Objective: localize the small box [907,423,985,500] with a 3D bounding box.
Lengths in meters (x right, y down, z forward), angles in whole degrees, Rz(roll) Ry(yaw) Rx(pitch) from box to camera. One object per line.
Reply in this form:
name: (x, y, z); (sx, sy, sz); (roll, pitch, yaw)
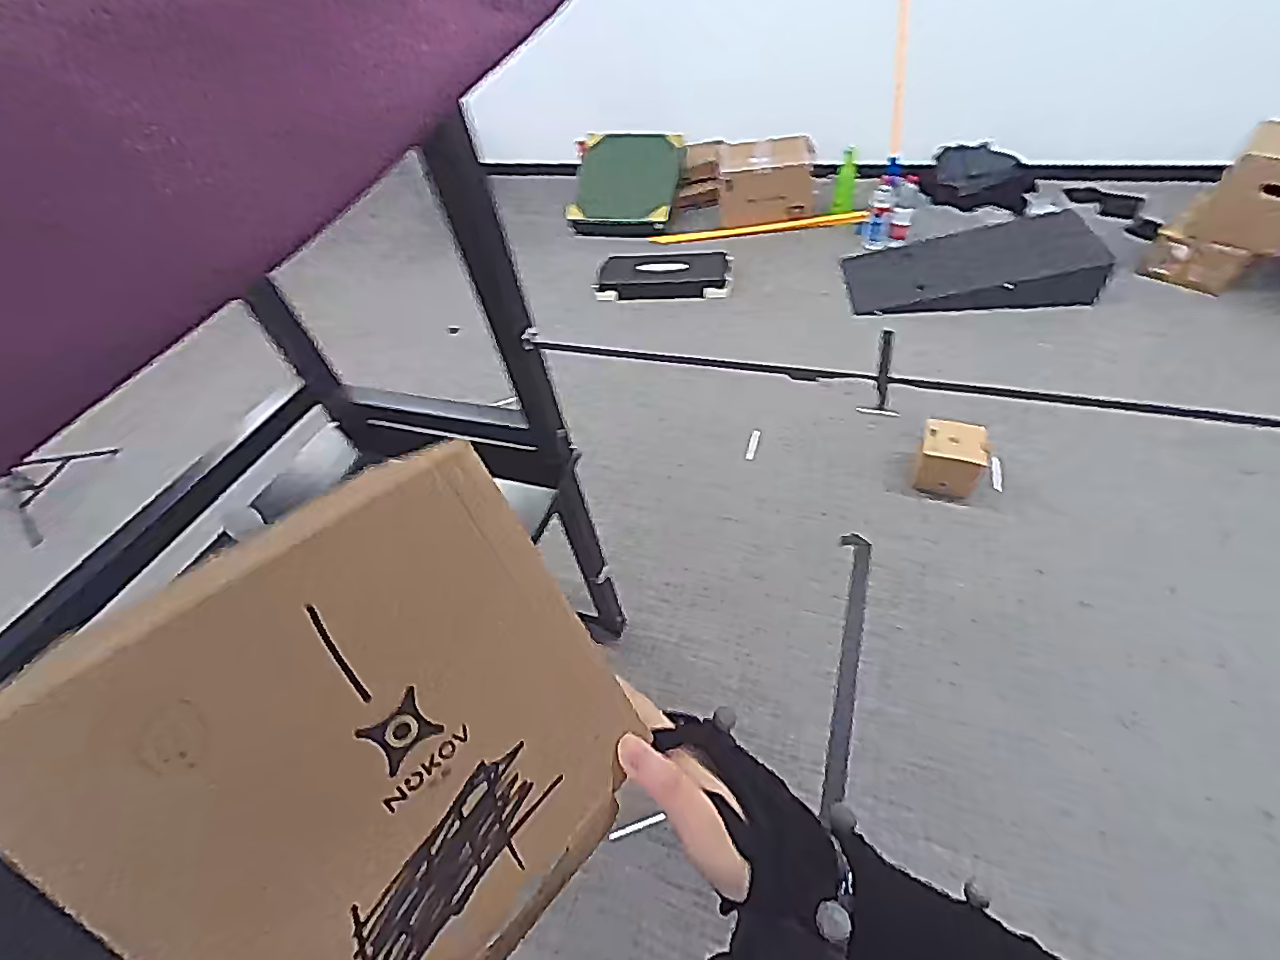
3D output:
small box: (0.988, -0.057, 1.750); (0.179, 0.176, 0.168); (14, 53, 18)
